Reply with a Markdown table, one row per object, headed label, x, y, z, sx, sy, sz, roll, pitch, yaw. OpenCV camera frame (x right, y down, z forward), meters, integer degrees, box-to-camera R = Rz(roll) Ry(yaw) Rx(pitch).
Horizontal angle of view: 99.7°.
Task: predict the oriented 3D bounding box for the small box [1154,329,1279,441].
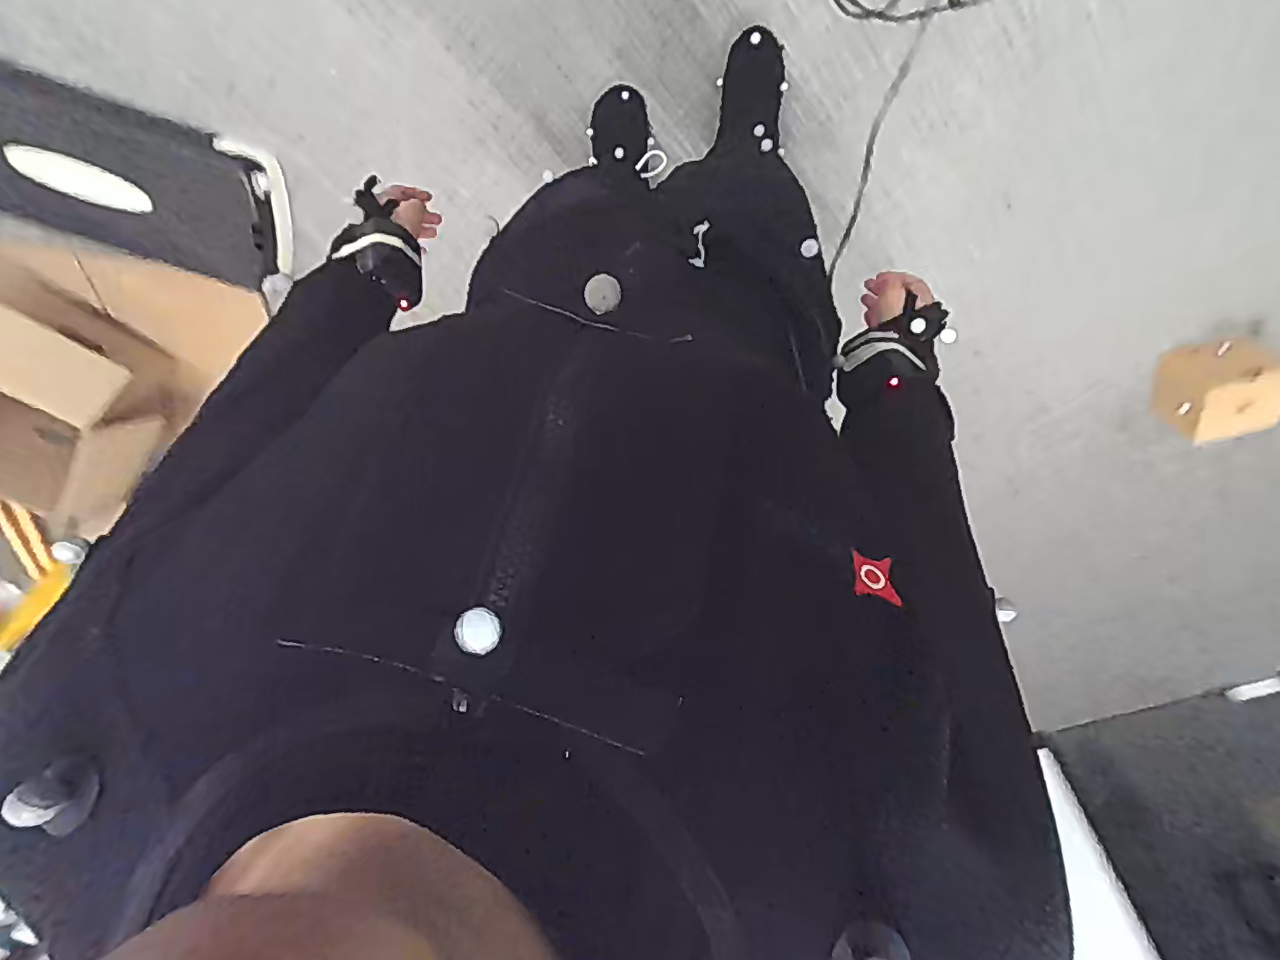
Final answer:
| label | x | y | z | sx | sy | sz | roll | pitch | yaw |
| --- | --- | --- | --- | --- | --- | --- | --- | --- | --- |
| small box | 1.392 | -0.230 | 1.300 | 0.168 | 0.176 | 0.179 | -18 | 128 | 18 |
